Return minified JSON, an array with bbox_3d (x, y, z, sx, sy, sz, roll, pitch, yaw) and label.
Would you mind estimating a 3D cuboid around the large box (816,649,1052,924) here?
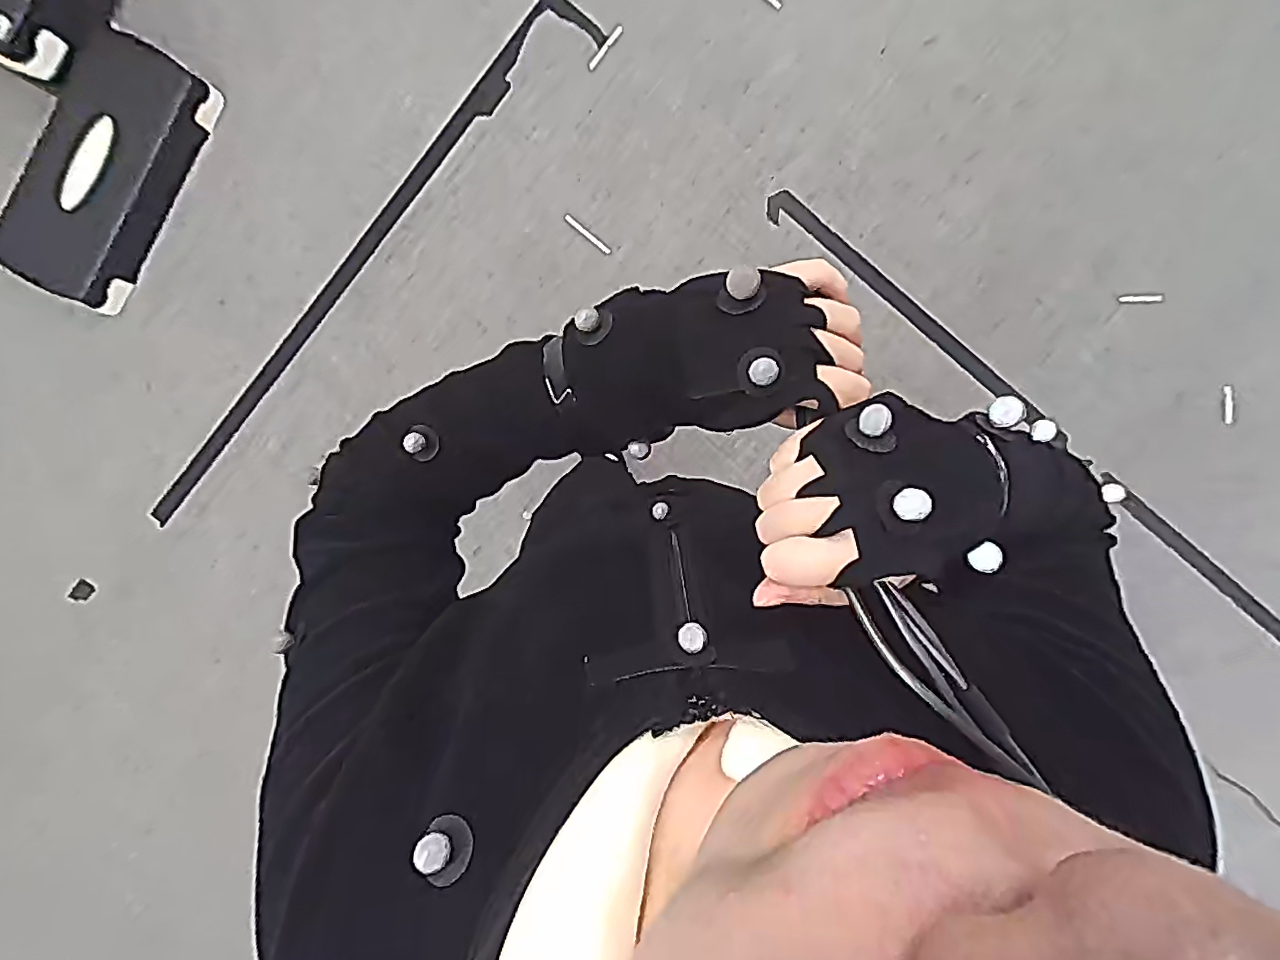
[{"bbox_3d":[0.631,0.653,1.216,0.320,0.320,0.408,-12,94,0],"label":"large box"}]
